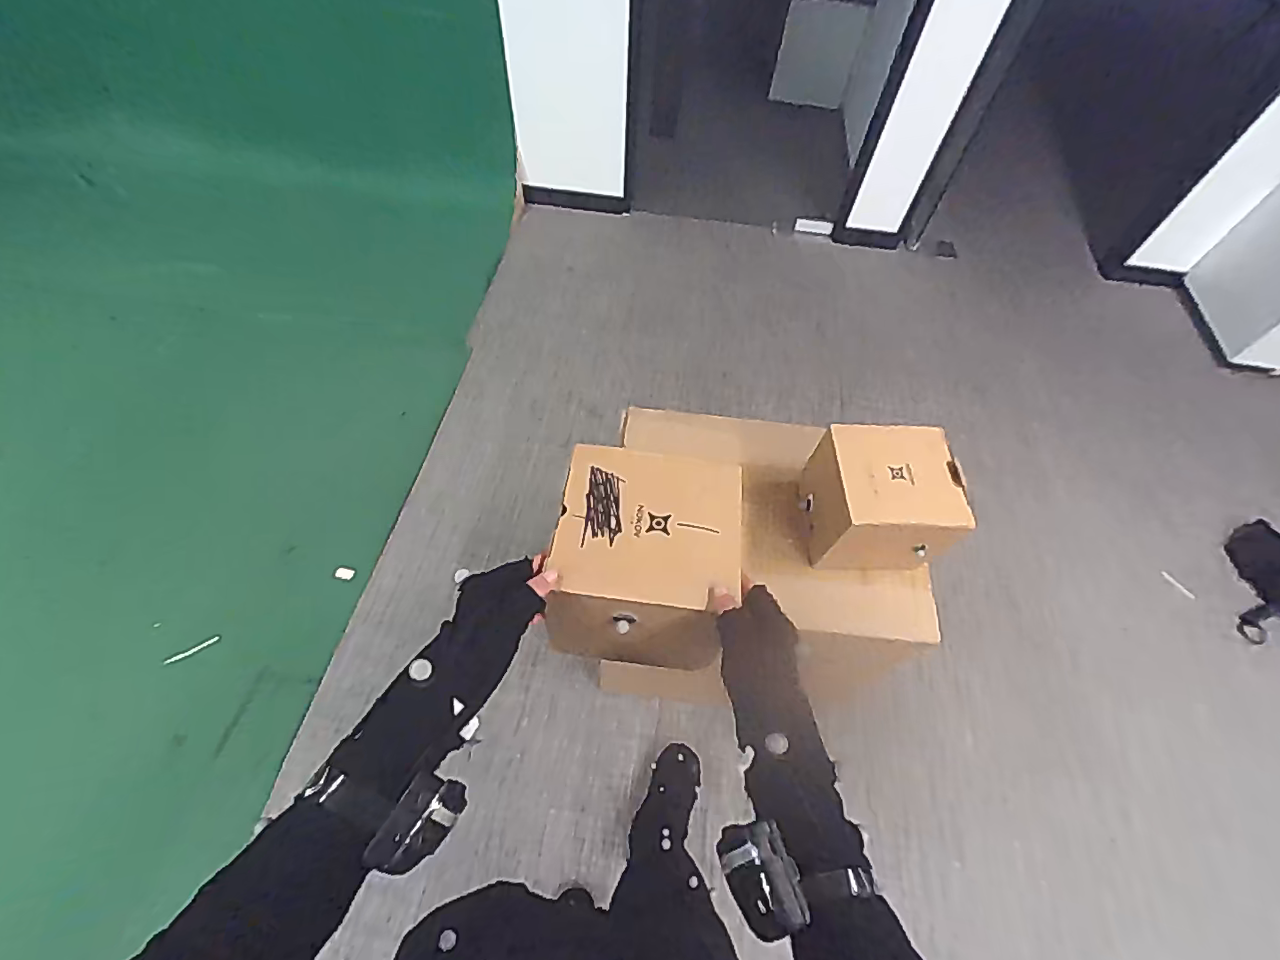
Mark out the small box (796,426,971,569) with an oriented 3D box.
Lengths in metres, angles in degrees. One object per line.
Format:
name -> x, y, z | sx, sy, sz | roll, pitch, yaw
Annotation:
small box -> 0.361, 0.032, 0.838 | 0.179, 0.176, 0.168 | -1, 60, -2

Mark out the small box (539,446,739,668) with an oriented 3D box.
small box -> 0.002, 0.087, 0.575 | 0.179, 0.176, 0.168 | 7, 54, 0
